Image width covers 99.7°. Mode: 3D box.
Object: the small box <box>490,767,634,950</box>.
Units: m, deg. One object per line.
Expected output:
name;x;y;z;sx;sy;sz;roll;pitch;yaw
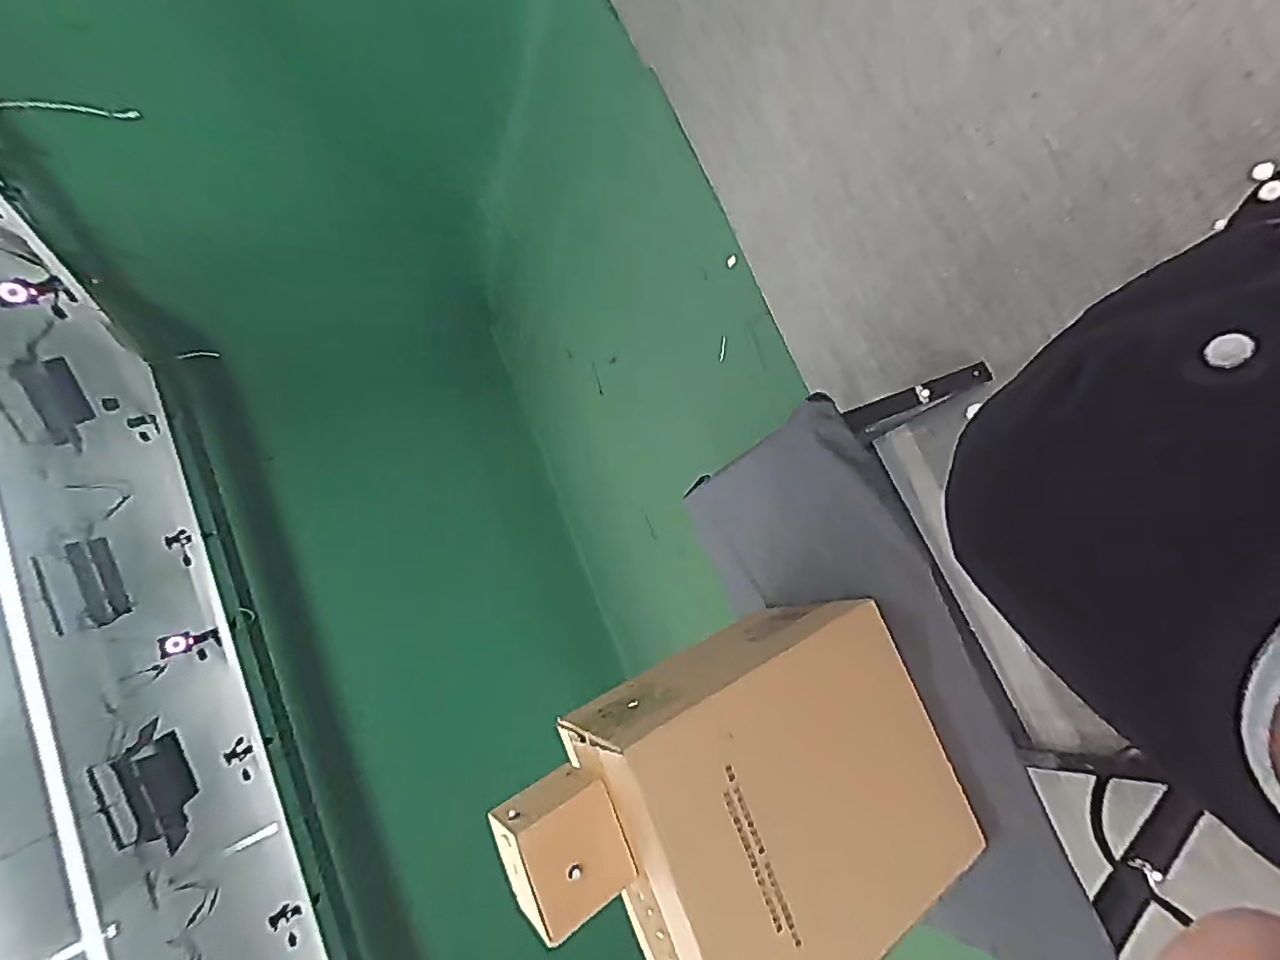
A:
small box;-0.134;0.637;0.938;0.168;0.176;0.179;-31;79;55
